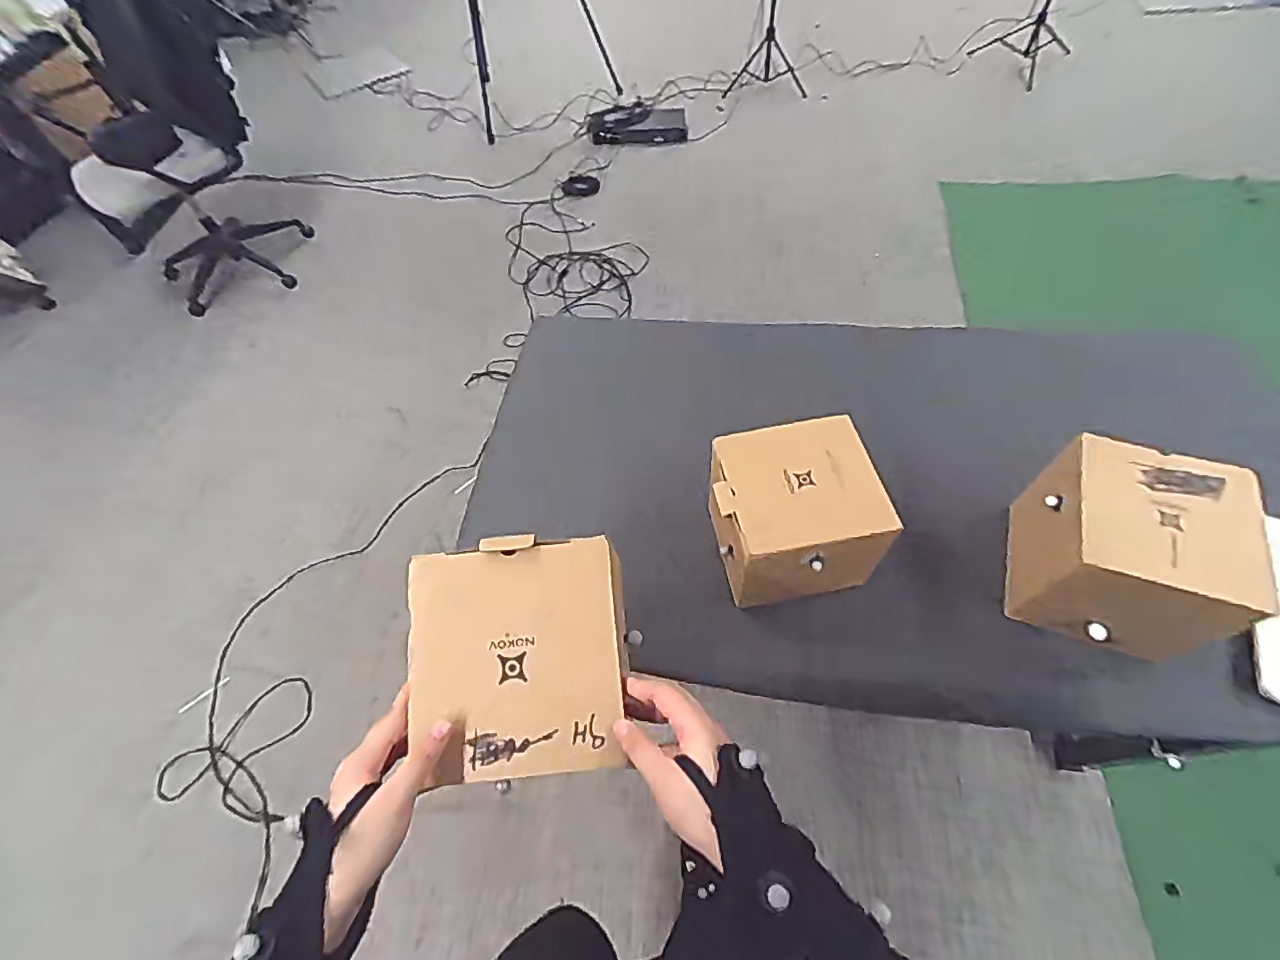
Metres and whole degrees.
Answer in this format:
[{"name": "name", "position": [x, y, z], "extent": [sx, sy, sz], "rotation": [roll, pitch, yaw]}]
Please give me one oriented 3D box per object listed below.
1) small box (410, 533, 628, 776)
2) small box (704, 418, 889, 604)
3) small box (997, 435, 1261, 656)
[{"name": "small box", "position": [-0.102, 0.157, 0.513], "extent": [0.168, 0.176, 0.179], "rotation": [-7, 76, -1]}, {"name": "small box", "position": [0.185, 0.047, 0.704], "extent": [0.179, 0.176, 0.168], "rotation": [-11, 58, -2]}, {"name": "small box", "position": [0.550, 0.080, 0.639], "extent": [0.168, 0.176, 0.179], "rotation": [16, 61, 16]}]
